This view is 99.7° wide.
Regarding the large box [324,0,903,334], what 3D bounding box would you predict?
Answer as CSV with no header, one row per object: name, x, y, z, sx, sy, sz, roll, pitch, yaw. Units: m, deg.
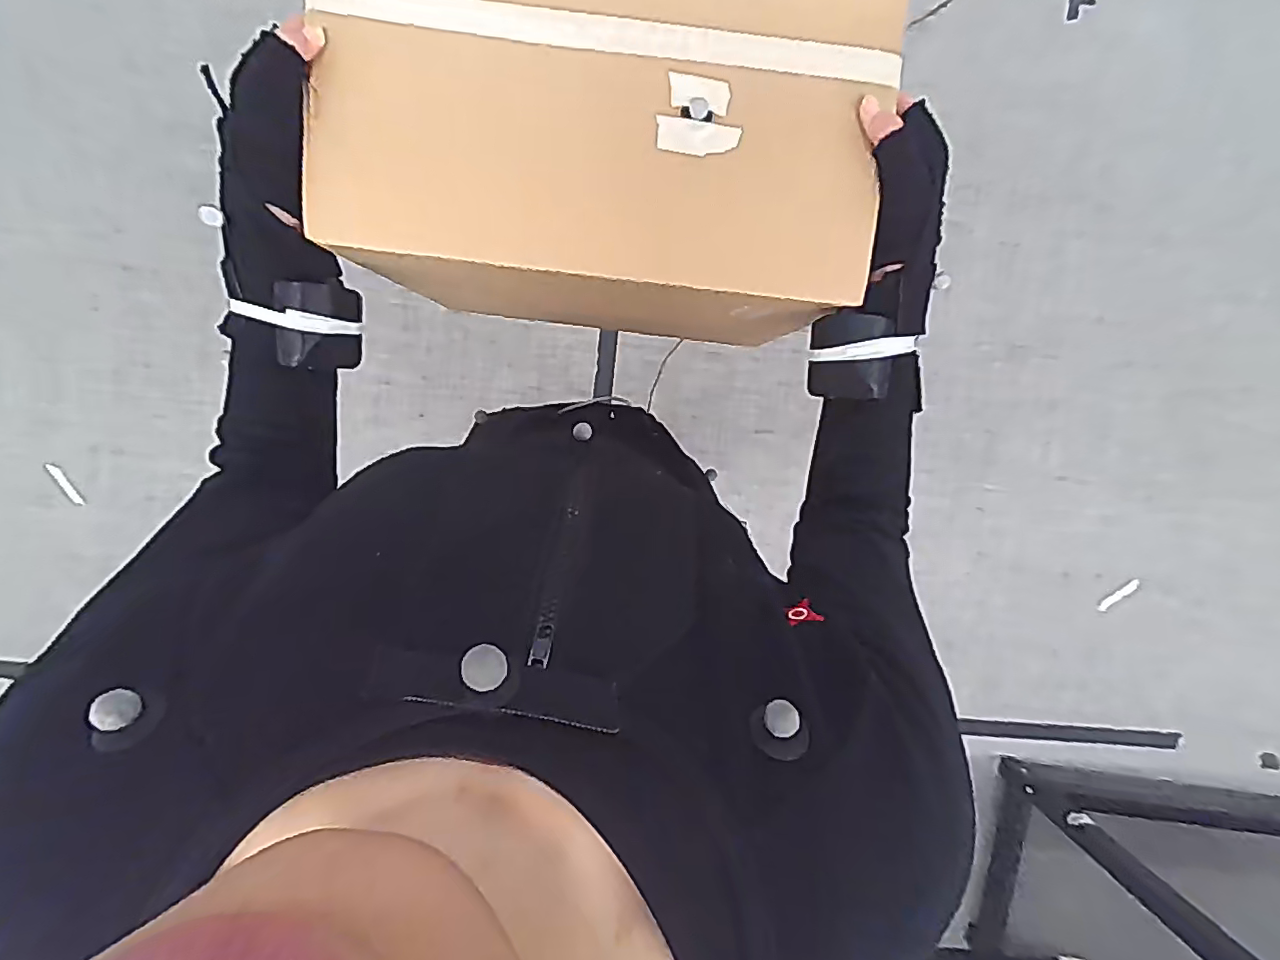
large box,-0.024,-0.332,0.526,0.408,0.320,0.320,6,100,-3
